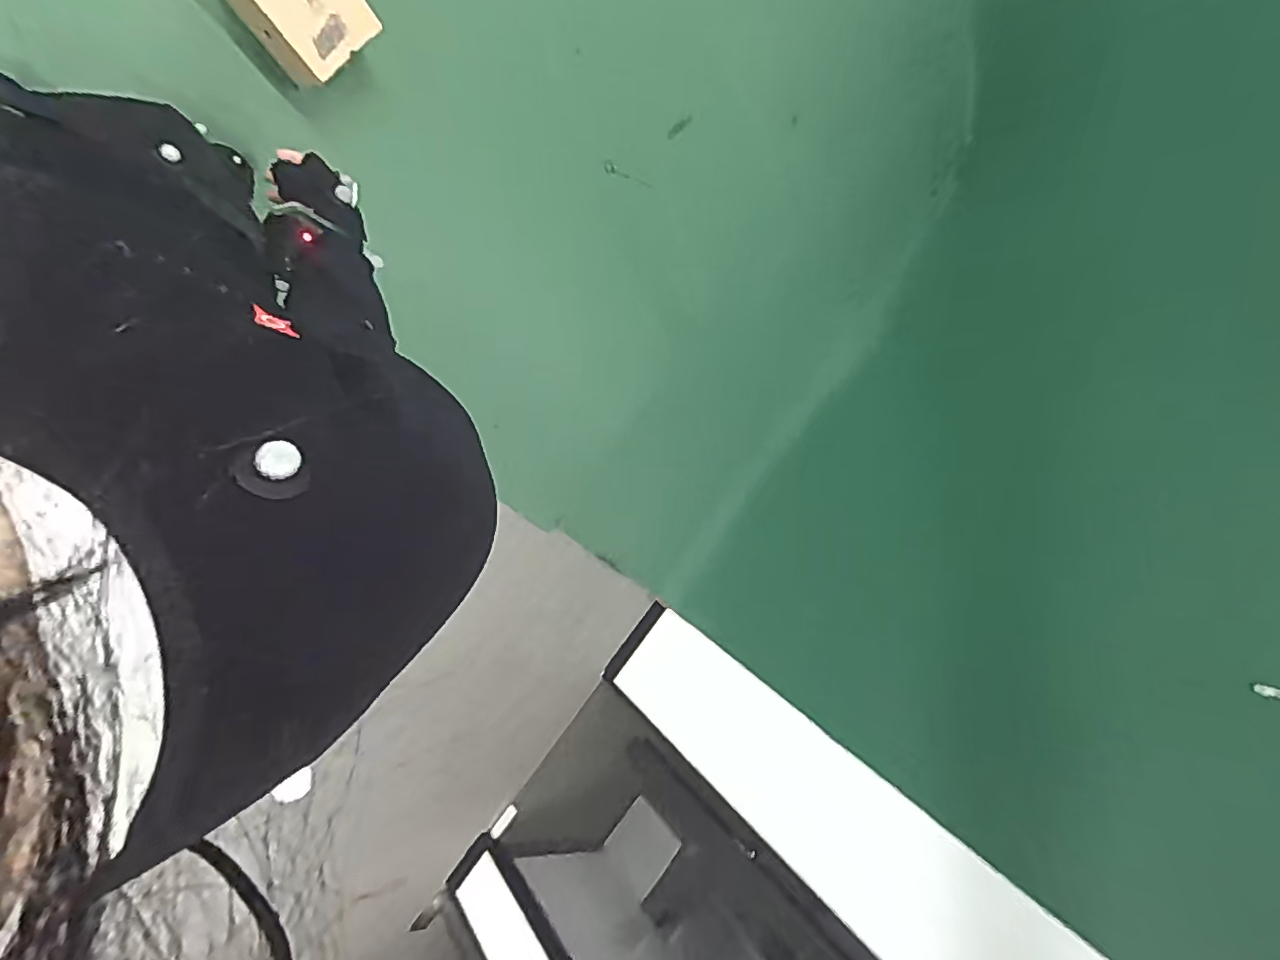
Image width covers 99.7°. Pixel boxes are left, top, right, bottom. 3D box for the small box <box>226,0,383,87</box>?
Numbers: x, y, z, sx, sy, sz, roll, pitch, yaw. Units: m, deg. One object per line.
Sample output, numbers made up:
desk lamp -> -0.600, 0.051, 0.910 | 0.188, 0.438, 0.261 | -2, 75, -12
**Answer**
small box -> -0.625, -0.869, 1.001 | 0.168, 0.176, 0.179 | -50, 139, -9
